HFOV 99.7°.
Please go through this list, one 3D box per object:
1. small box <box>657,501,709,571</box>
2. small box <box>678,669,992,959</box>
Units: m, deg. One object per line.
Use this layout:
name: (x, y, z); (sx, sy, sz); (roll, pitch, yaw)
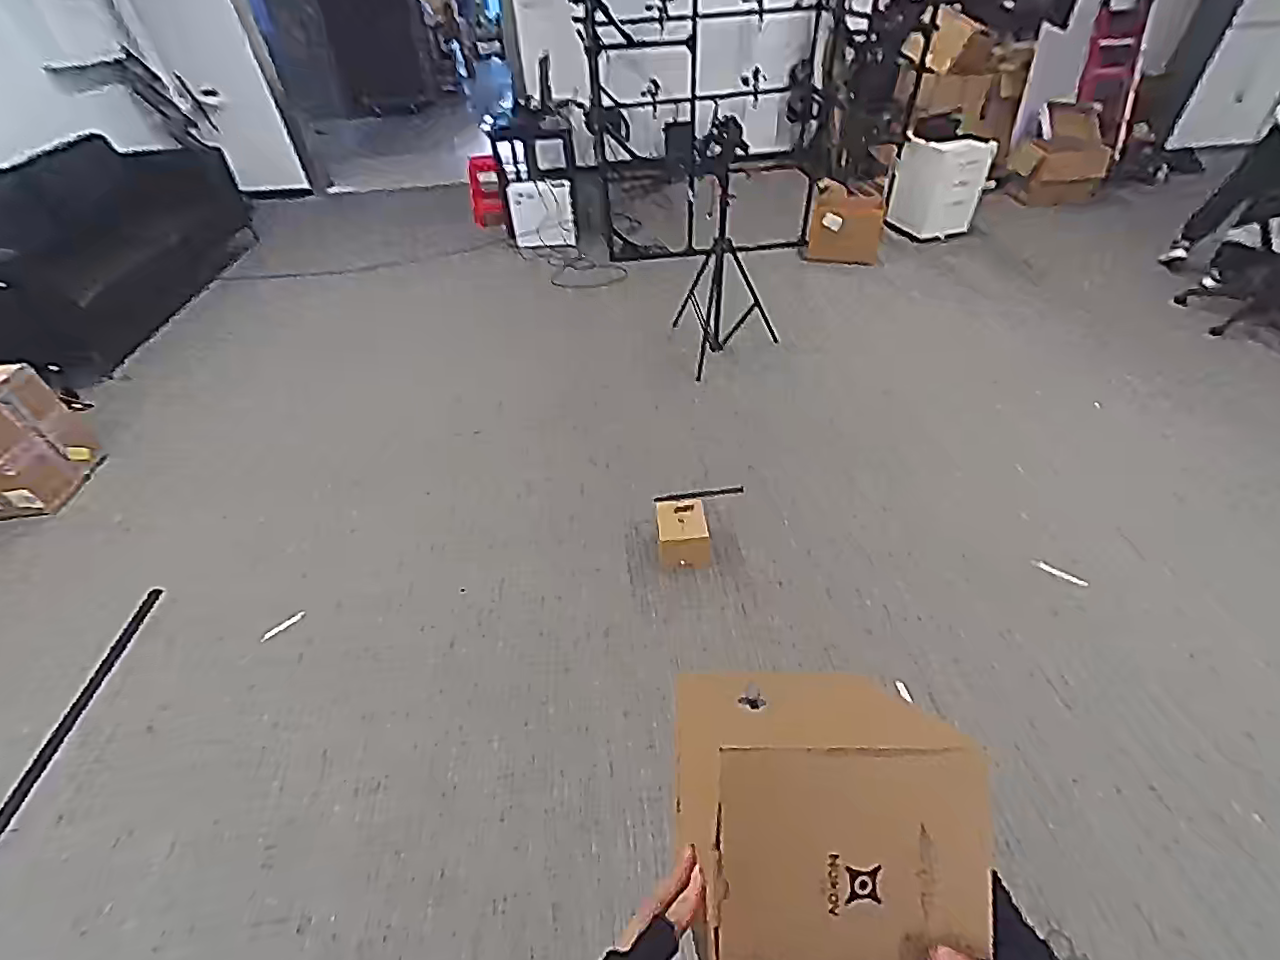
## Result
small box: (0.147, 0.198, 1.909); (0.168, 0.176, 0.179); (-5, 44, 0)
small box: (0.126, 0.251, 0.410); (0.179, 0.176, 0.168); (1, 87, -6)
